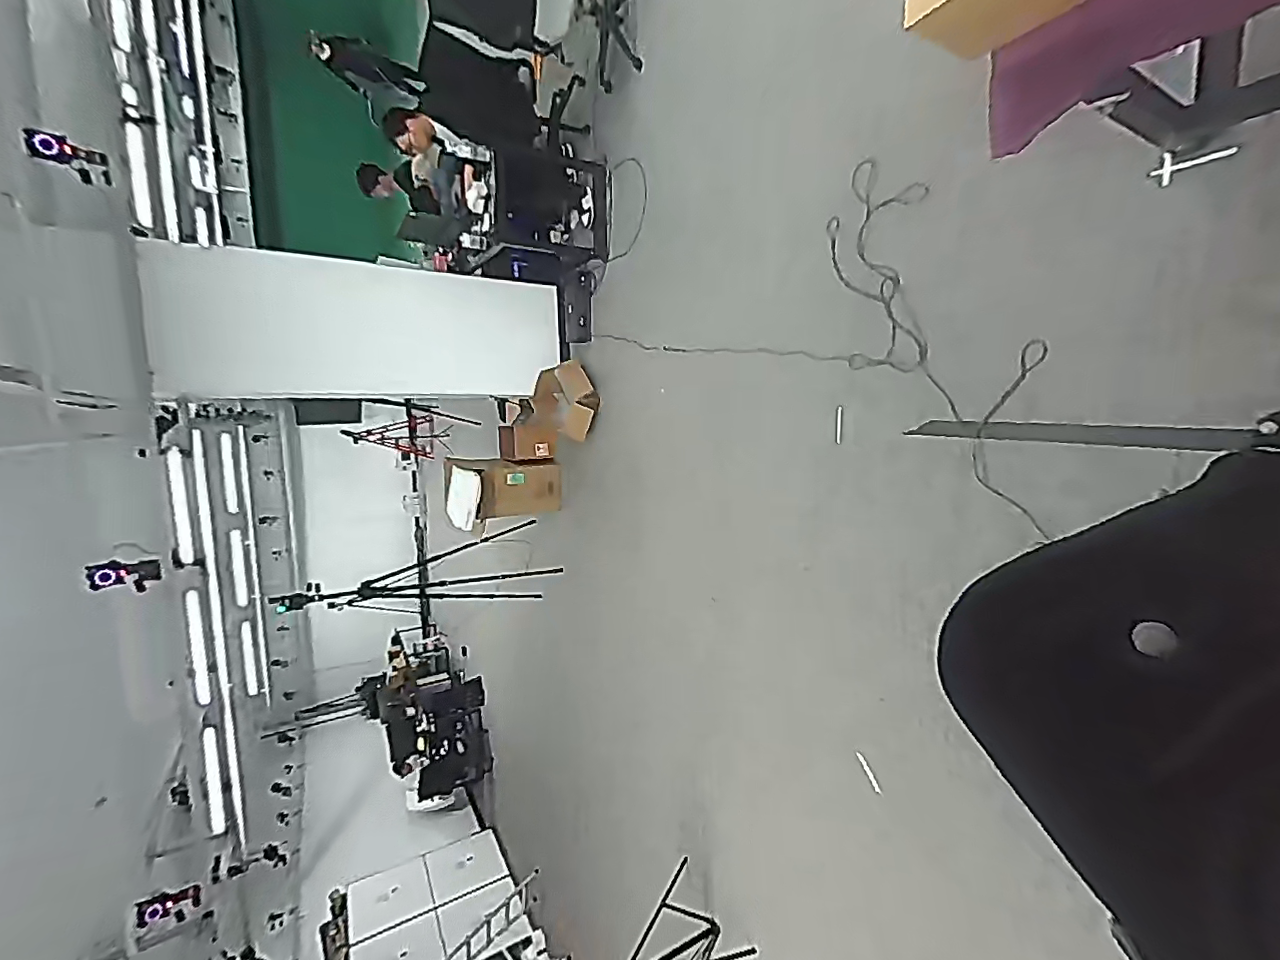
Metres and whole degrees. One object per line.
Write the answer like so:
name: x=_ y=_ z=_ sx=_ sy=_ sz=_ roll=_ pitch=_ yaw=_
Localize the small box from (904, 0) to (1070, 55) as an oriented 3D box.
small box: x=0.503 y=-0.748 z=0.756 sx=0.179 sy=0.176 sz=0.168 roll=10 pitch=102 yaw=58
